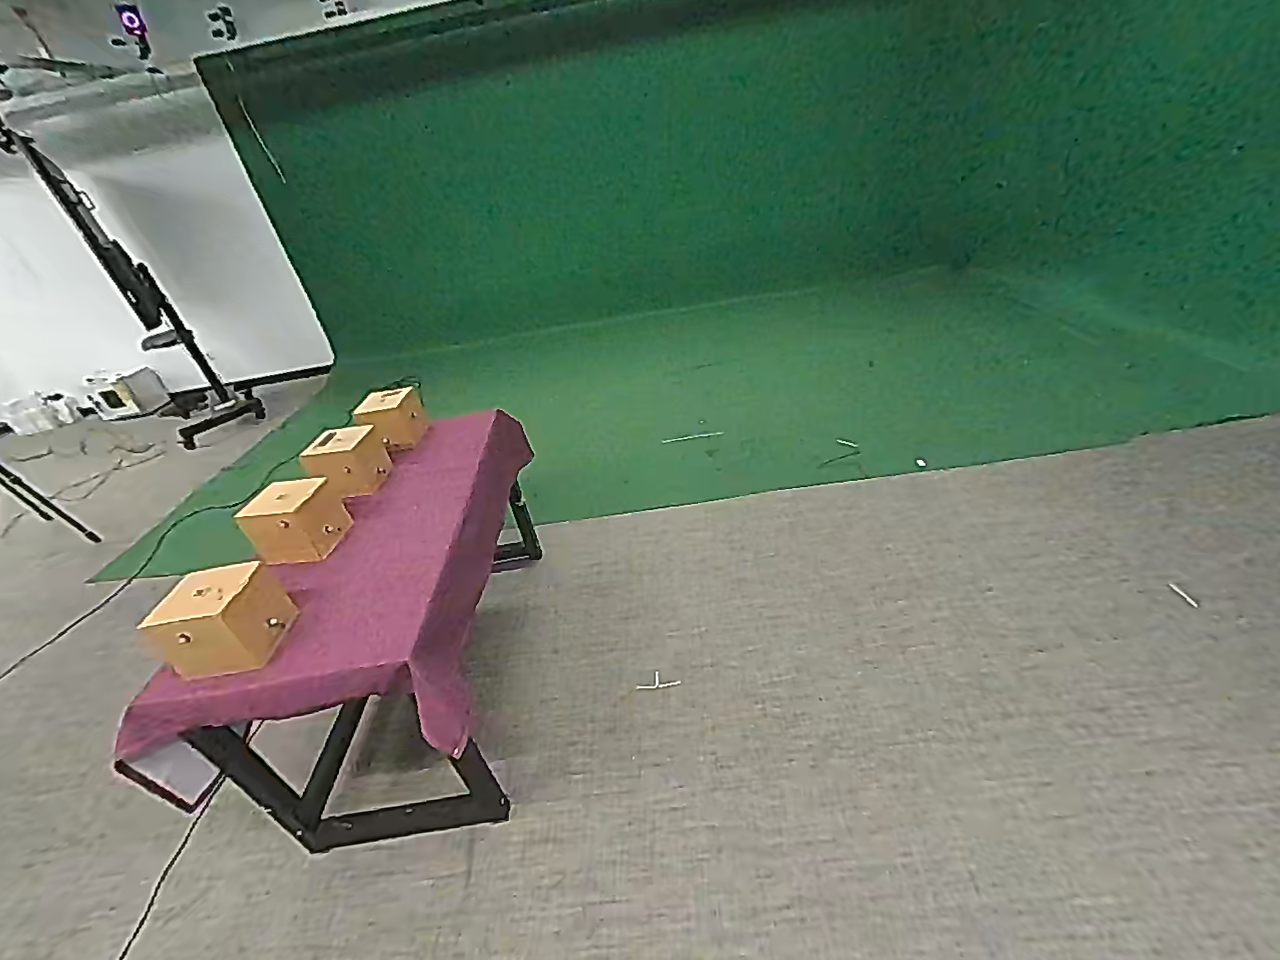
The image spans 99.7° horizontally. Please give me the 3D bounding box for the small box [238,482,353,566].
[{"bbox_3d":[-0.942,0.124,1.495,0.179,0.176,0.168,-5,33,8],"label":"small box"}]

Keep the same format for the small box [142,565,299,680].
[{"bbox_3d":[-0.902,0.315,1.183,0.179,0.176,0.168,-10,33,2],"label":"small box"}]

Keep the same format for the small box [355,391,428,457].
[{"bbox_3d":[-0.900,-0.205,1.984,0.168,0.176,0.179,-9,34,4],"label":"small box"}]
